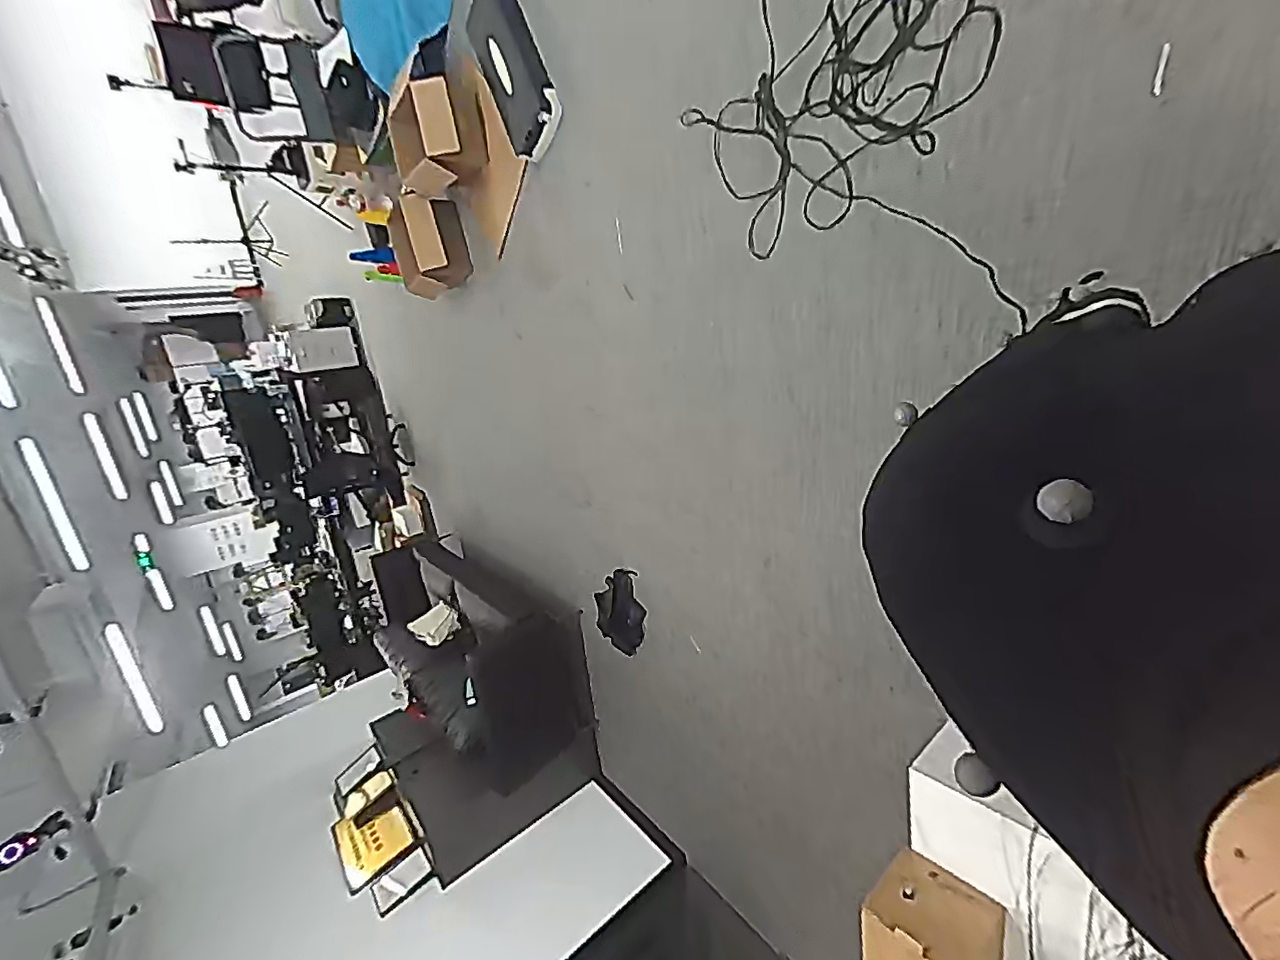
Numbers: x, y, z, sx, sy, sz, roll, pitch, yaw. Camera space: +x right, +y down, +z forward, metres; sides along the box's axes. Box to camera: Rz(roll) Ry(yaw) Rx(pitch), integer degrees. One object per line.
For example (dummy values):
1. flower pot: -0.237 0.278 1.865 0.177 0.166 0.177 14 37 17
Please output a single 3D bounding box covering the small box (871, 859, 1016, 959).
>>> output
1. small box: 0.515 0.806 0.918 0.168 0.176 0.179 9 113 52
